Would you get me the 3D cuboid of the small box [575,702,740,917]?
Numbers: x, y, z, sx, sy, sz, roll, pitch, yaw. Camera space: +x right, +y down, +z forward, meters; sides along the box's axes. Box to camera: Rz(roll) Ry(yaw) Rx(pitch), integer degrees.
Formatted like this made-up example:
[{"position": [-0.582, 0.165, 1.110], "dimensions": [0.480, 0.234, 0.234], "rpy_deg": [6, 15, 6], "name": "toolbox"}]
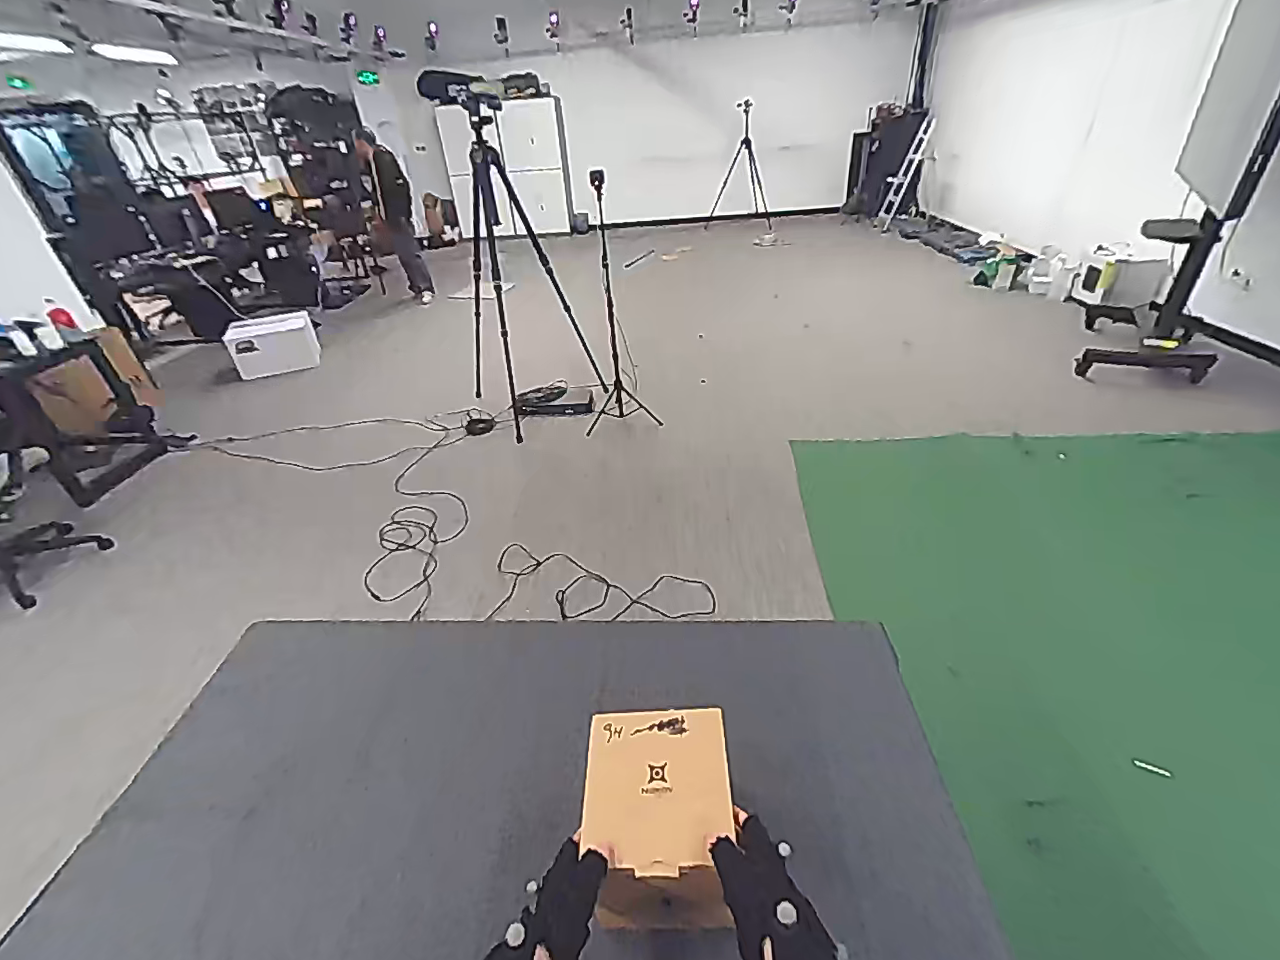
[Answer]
[{"position": [0.027, 0.396, 0.648], "dimensions": [0.168, 0.176, 0.179], "rpy_deg": [-5, 35, 5], "name": "small box"}]
